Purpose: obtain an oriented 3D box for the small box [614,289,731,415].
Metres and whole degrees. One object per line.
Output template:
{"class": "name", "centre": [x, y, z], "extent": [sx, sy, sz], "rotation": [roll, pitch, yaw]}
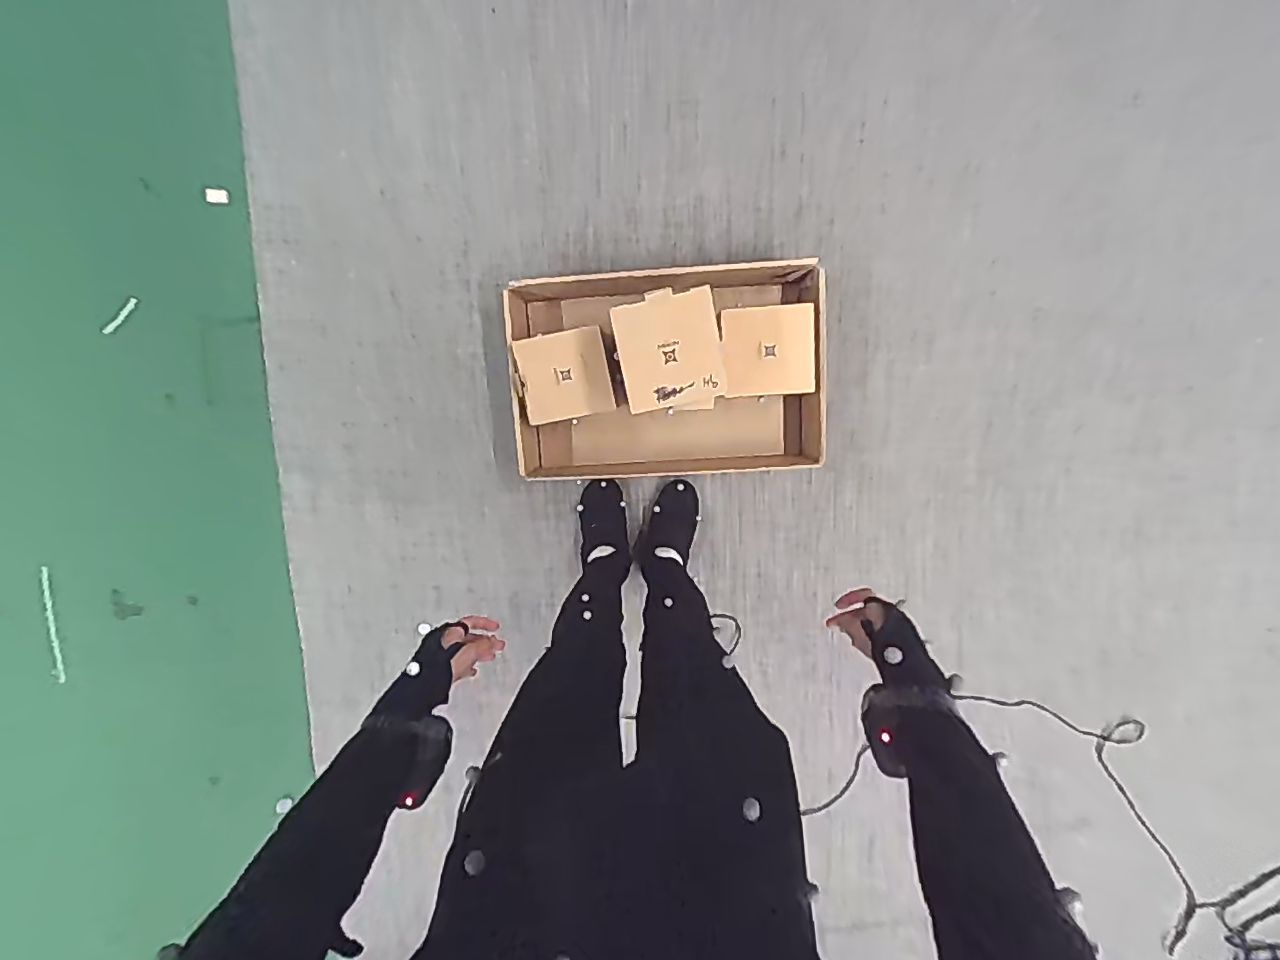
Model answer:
{"class": "small box", "centre": [0.056, -0.214, 0.945], "extent": [0.168, 0.176, 0.179], "rotation": [-11, 97, 5]}
